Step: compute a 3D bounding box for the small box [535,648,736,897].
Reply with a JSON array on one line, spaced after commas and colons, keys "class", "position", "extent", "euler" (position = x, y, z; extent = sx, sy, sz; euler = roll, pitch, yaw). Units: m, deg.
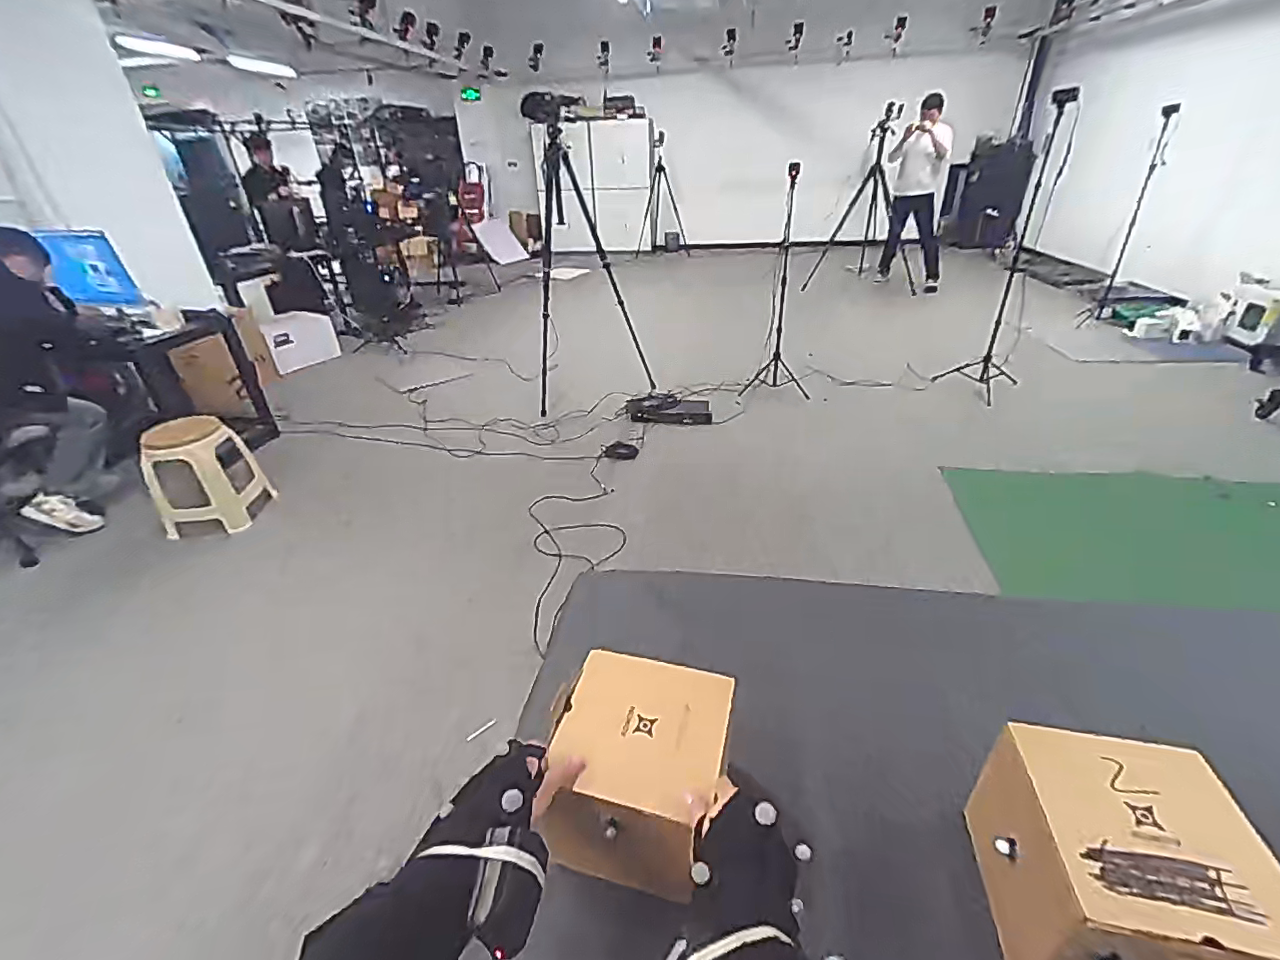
[{"class": "small box", "position": [0.005, 0.320, 0.603], "extent": [0.179, 0.176, 0.168], "euler": [7, 34, 14]}]
